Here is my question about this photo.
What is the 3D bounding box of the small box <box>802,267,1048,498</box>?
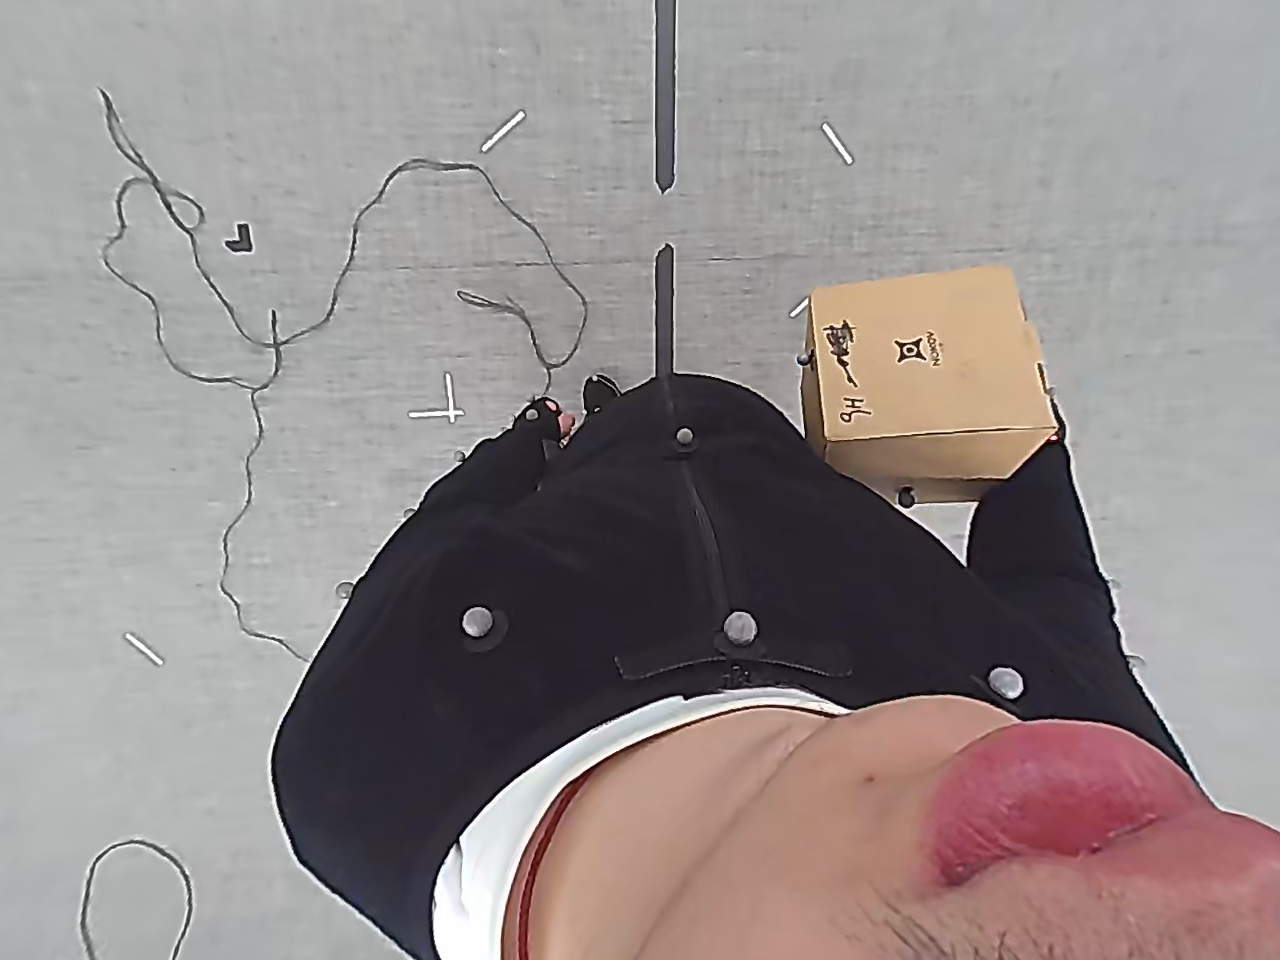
[{"bbox_3d":[0.266,-0.087,0.555,0.179,0.176,0.168,-3,66,12],"label":"small box"}]
